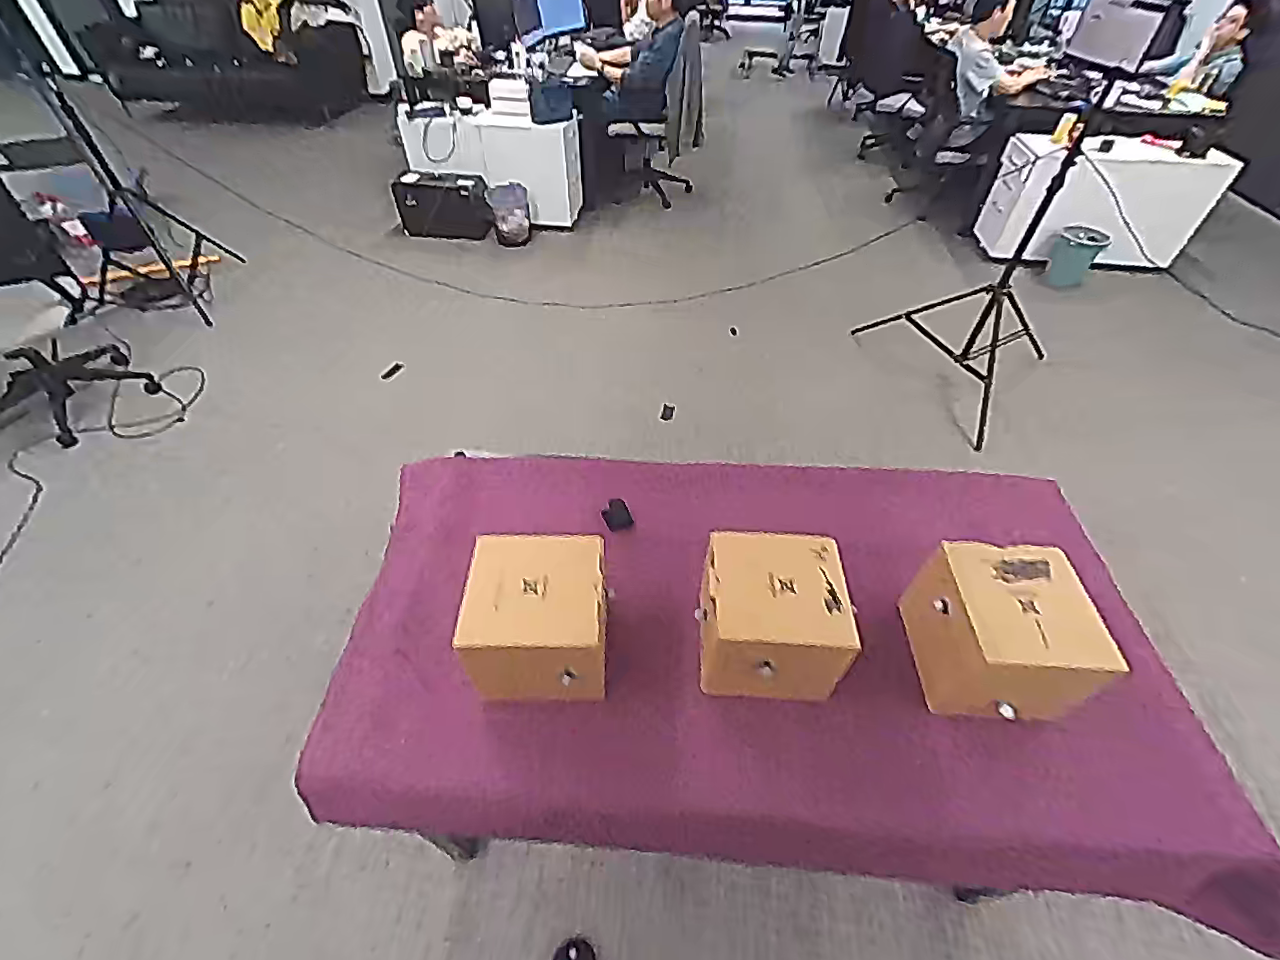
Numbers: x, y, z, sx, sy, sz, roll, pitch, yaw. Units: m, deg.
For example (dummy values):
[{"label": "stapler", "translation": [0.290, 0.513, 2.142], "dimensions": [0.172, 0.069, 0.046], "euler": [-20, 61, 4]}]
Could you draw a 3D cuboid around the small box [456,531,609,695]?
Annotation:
[{"label": "small box", "translation": [-0.134, 0.188, 0.757], "dimensions": [0.179, 0.176, 0.168], "euler": [-1, 45, -1]}]

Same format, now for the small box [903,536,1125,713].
[{"label": "small box", "translation": [0.492, 0.200, 0.750], "dimensions": [0.168, 0.176, 0.179], "euler": [2, 47, 2]}]

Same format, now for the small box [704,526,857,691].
[{"label": "small box", "translation": [0.182, 0.183, 0.764], "dimensions": [0.179, 0.176, 0.168], "euler": [2, 46, 2]}]
